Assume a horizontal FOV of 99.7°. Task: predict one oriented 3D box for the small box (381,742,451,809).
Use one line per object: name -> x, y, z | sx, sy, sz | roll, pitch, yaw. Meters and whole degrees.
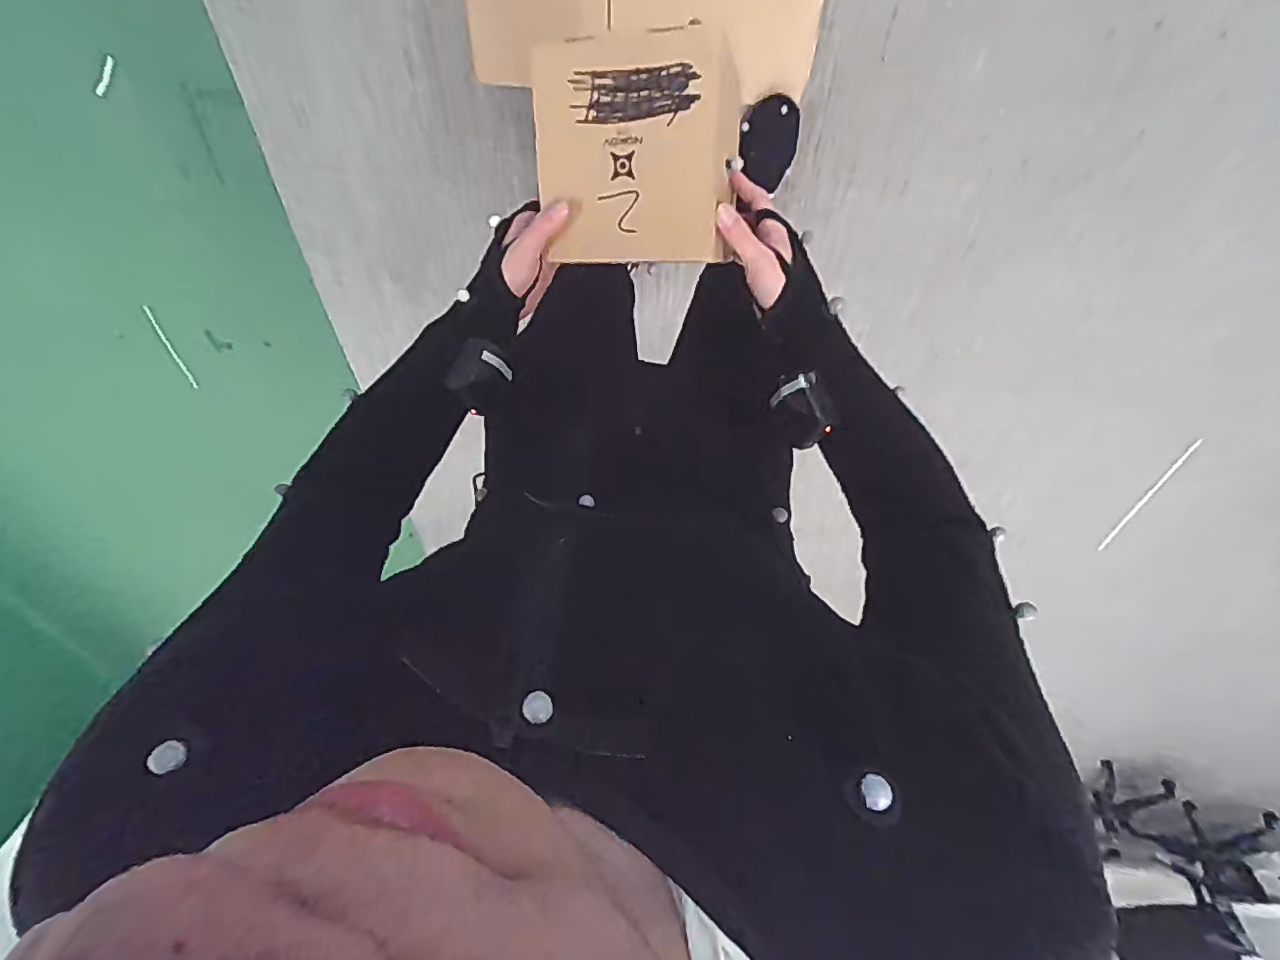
small box -> -0.840, 1.122, 2.054 | 0.168, 0.176, 0.179 | 5, 135, 6
